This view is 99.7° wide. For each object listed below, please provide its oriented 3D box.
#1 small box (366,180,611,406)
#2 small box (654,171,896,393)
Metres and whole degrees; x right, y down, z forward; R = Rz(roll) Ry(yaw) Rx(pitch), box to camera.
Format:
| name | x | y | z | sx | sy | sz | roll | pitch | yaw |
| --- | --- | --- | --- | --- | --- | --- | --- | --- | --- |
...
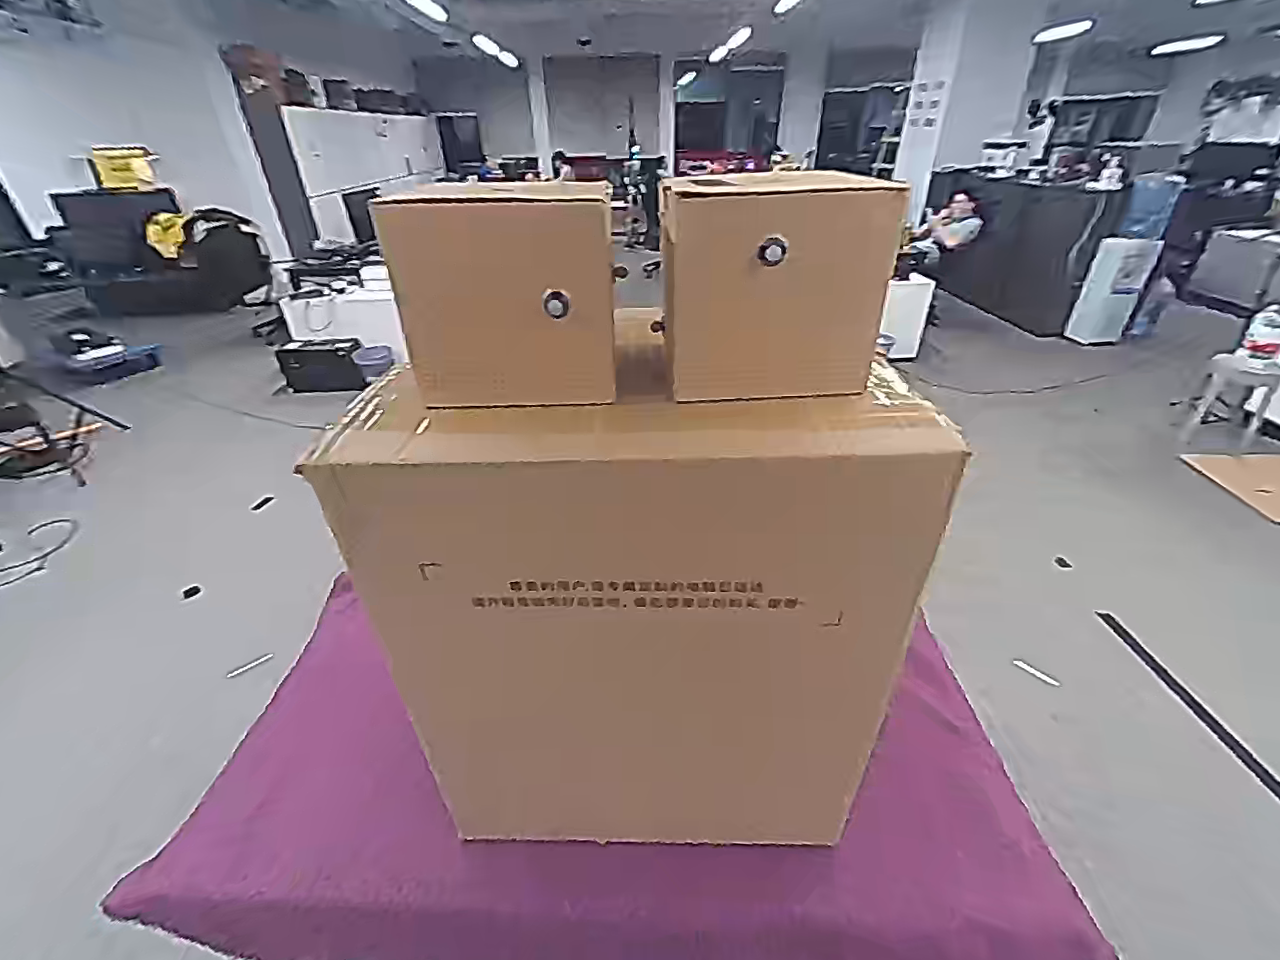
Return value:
| name | x | y | z | sx | sy | sz | roll | pitch | yaw |
| --- | --- | --- | --- | --- | --- | --- | --- | --- | --- |
| small box | -0.116 | -0.177 | 0.506 | 0.179 | 0.176 | 0.168 | -2 | 32 | -2 |
| small box | 0.107 | -0.188 | 0.509 | 0.179 | 0.176 | 0.168 | -2 | 33 | -1 |
